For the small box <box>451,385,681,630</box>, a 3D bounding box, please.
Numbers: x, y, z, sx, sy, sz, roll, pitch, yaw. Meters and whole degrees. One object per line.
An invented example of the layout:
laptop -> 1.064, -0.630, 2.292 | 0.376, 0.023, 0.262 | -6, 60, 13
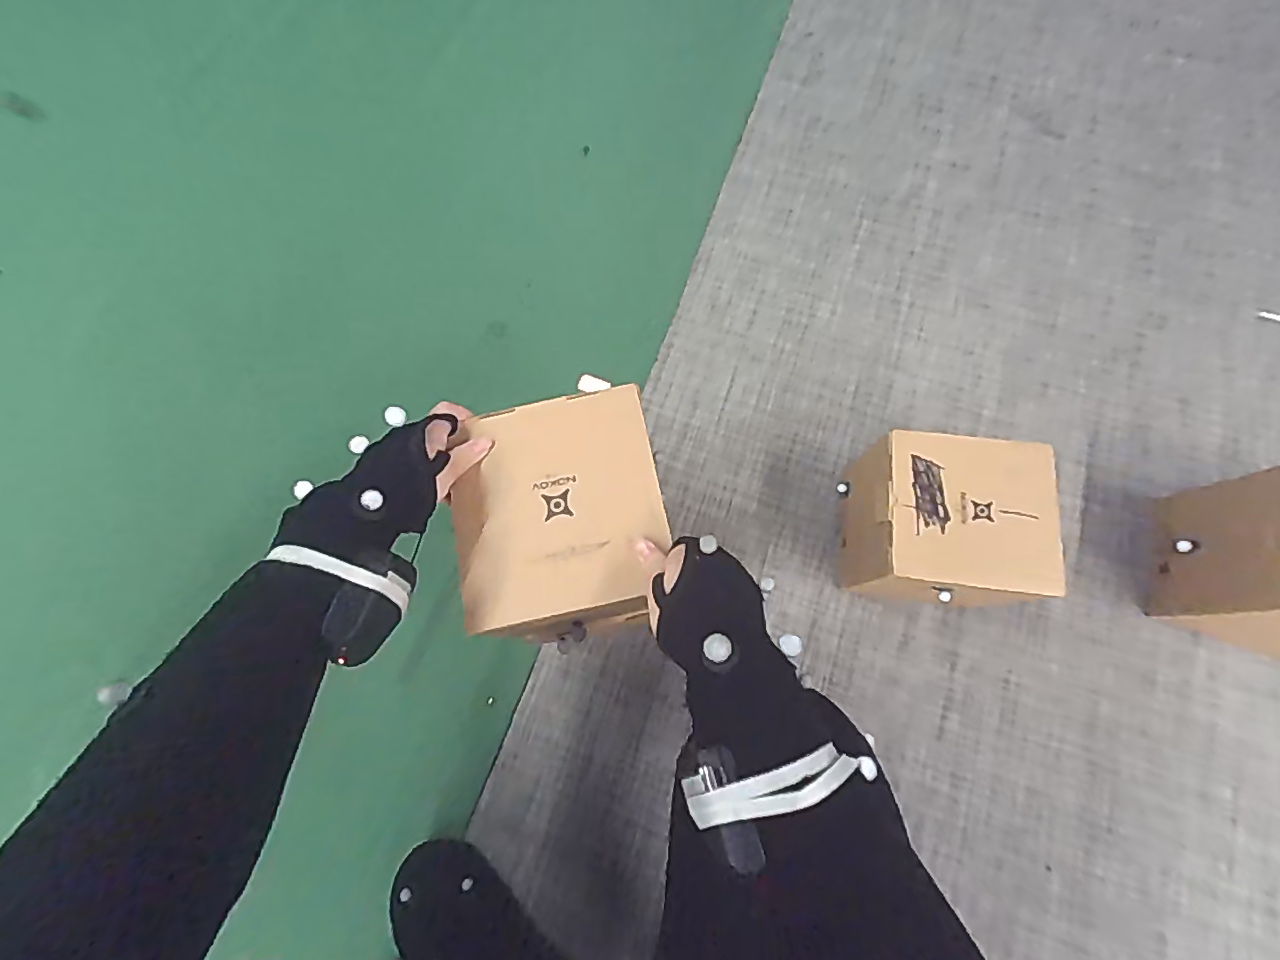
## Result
small box -> -0.062, 0.038, 0.509 | 0.168, 0.176, 0.179 | -12, 74, -1

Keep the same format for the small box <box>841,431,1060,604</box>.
small box -> 0.354, 0.054, 0.654 | 0.179, 0.176, 0.168 | 7, 74, 3

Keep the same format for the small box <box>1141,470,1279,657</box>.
small box -> 0.748, 0.104, 0.624 | 0.179, 0.176, 0.168 | 19, 74, 8
